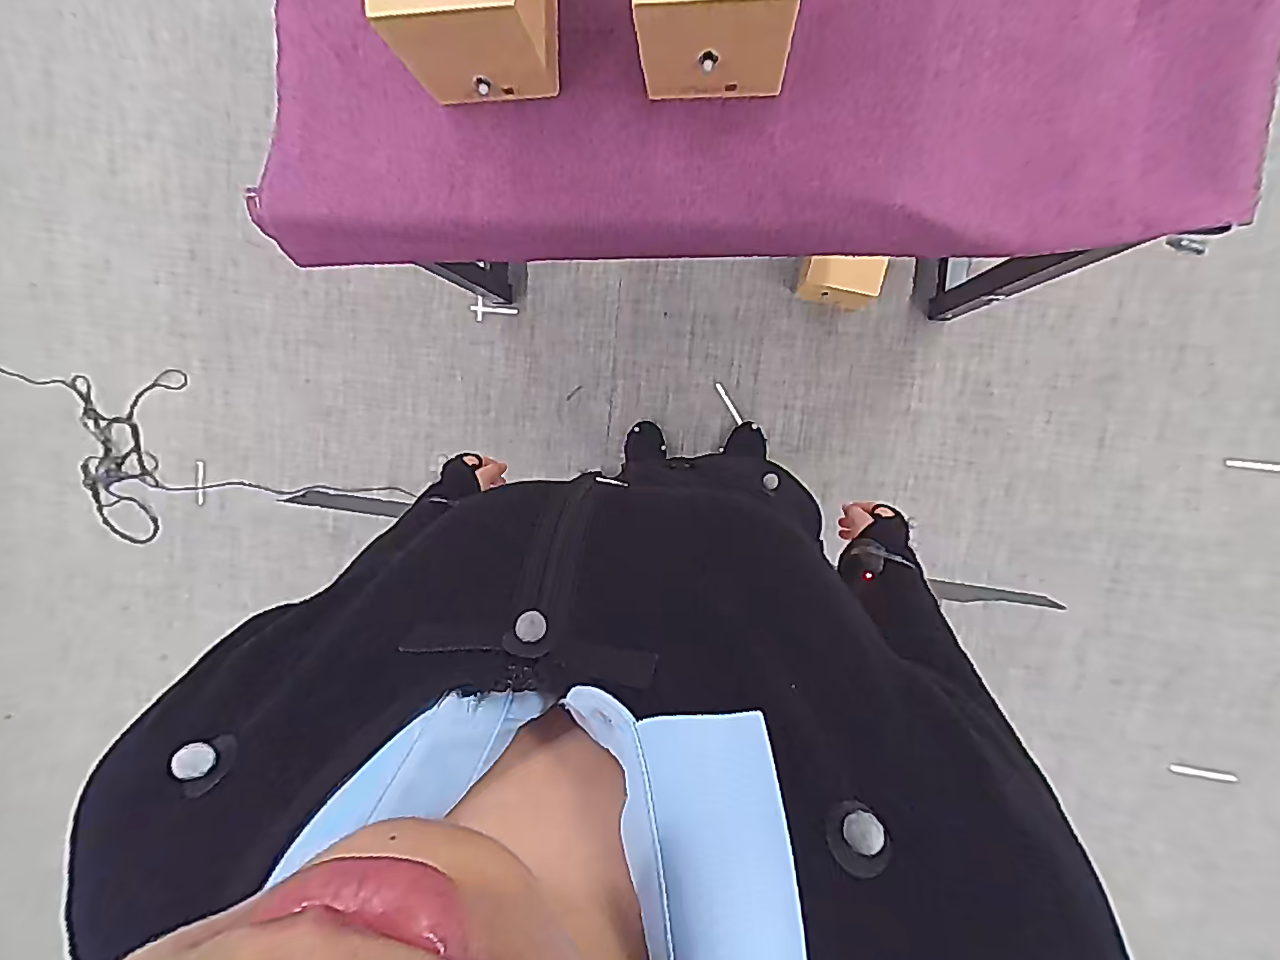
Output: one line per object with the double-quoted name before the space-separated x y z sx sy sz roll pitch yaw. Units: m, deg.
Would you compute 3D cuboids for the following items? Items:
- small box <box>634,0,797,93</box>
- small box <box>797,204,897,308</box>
"small box" 0.088 -0.561 0.596 0.168 0.176 0.179 4 97 6
"small box" 0.483 -0.524 1.293 0.168 0.176 0.179 14 98 6
